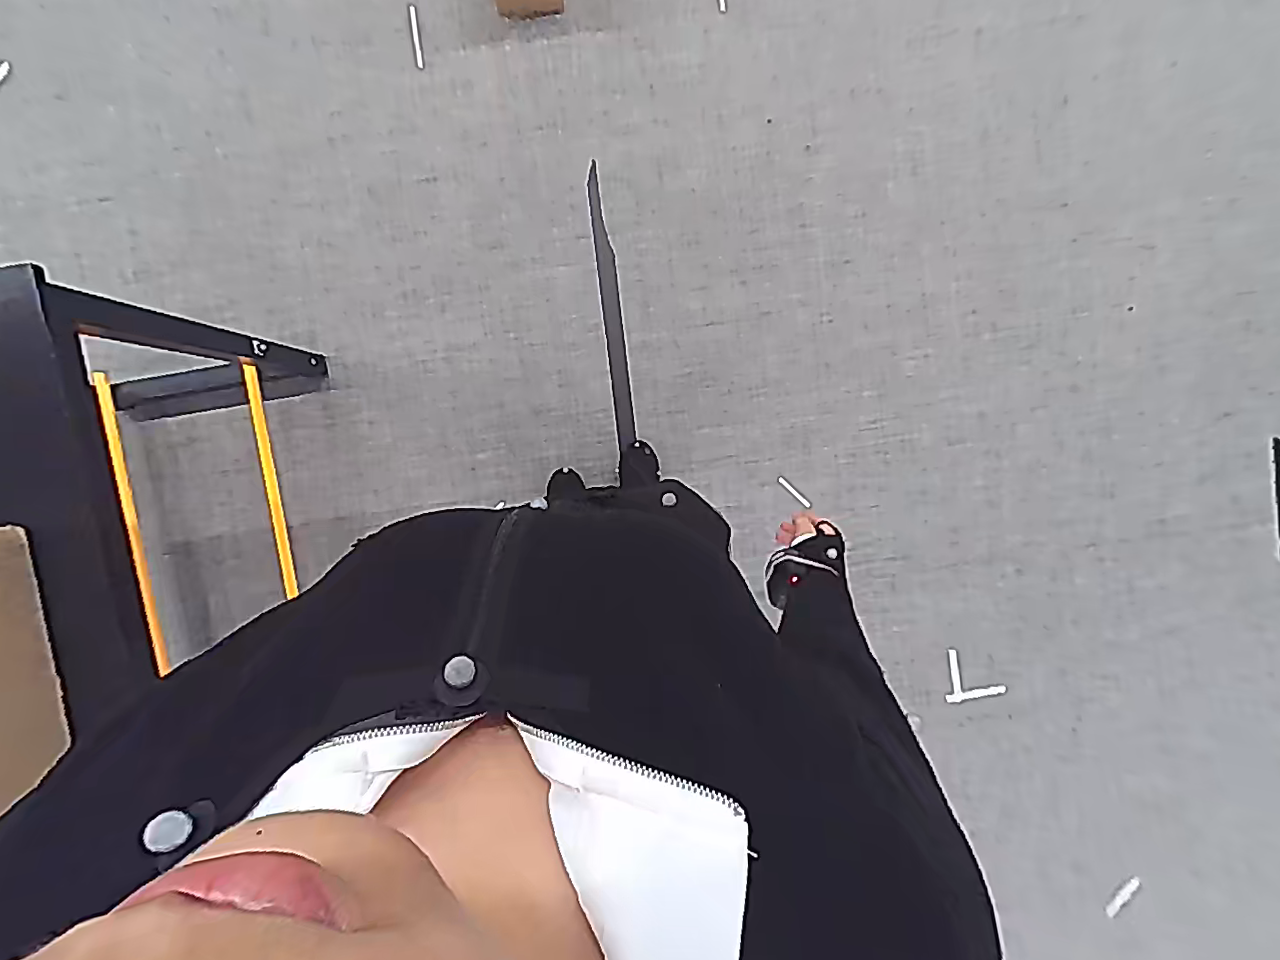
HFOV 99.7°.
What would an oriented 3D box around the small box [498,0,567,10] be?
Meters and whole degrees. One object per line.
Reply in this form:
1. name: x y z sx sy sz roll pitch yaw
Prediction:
1. small box: -0.278 -1.283 1.305 0.179 0.176 0.168 -4 95 -2
